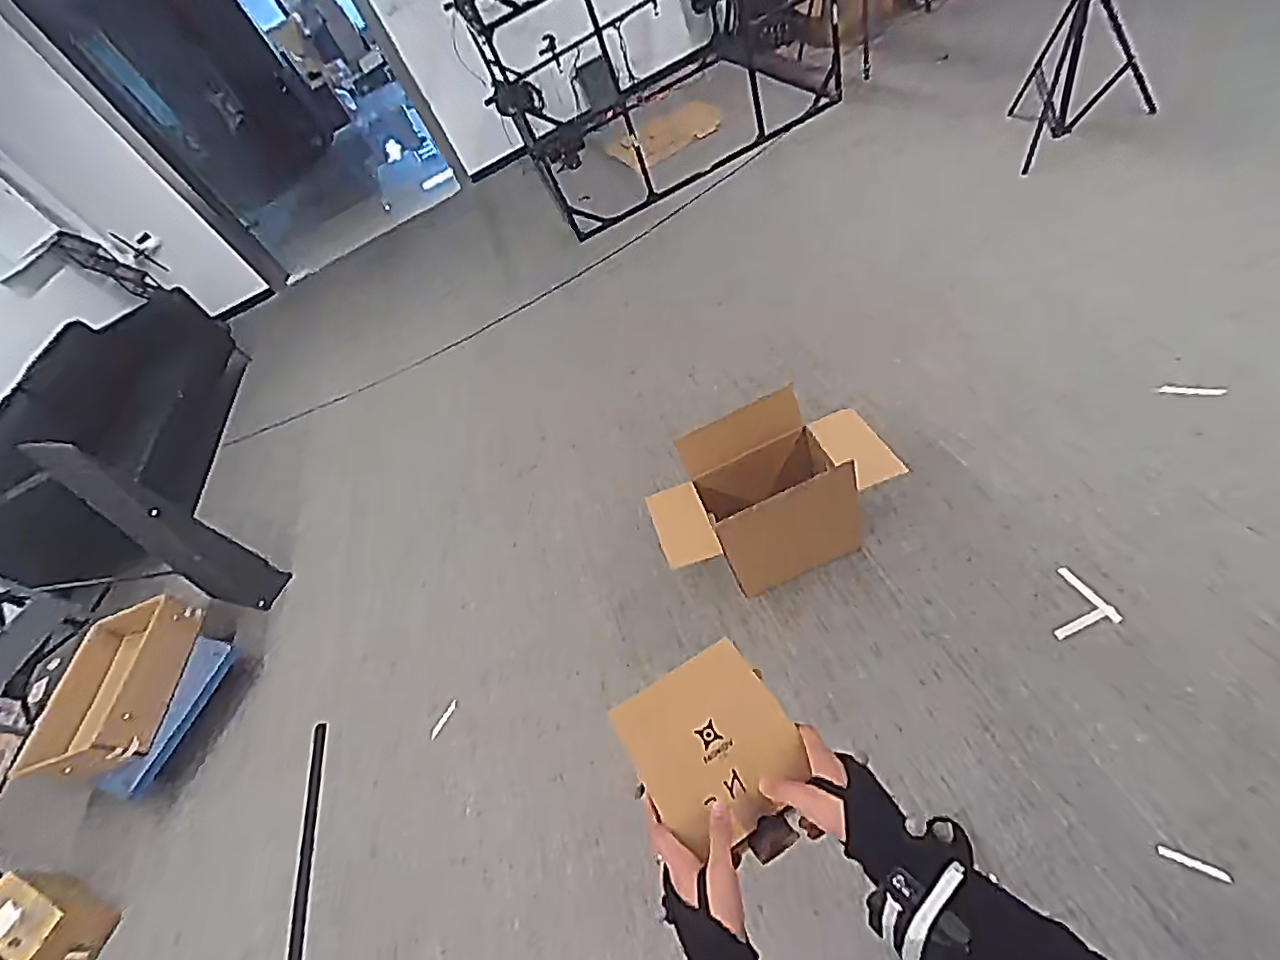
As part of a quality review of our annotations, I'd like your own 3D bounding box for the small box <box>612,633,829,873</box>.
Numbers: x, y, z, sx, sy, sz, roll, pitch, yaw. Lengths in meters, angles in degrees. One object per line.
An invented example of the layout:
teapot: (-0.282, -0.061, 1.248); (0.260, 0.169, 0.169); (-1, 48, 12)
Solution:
small box: (0.086, 0.319, 0.630); (0.168, 0.176, 0.179); (-28, 53, -14)
